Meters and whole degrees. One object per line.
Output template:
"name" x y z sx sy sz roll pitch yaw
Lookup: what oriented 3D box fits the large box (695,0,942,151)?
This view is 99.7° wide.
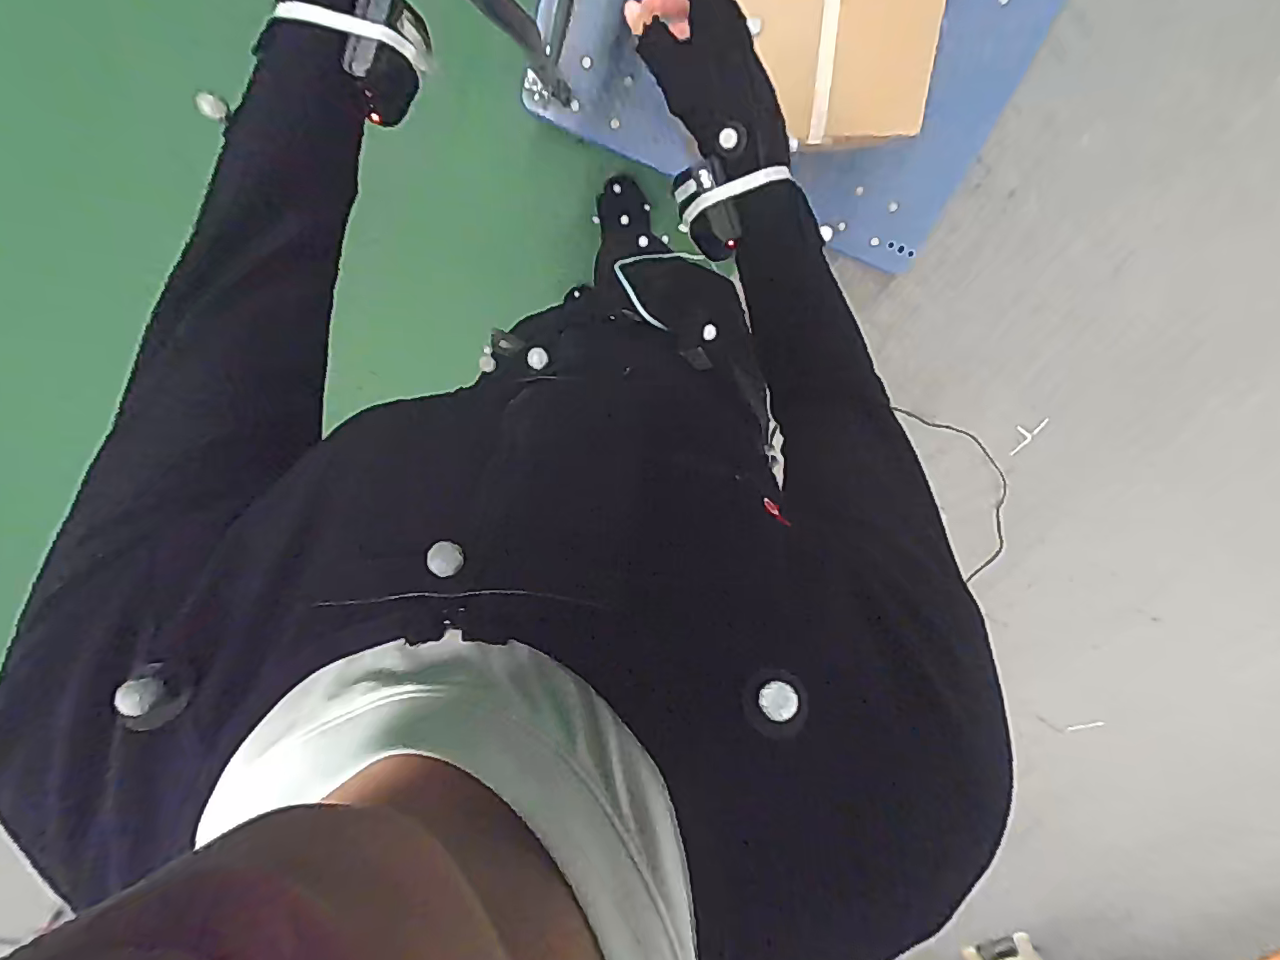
"large box" 0.250 -0.757 0.831 0.320 0.320 0.408 -2 117 -1
